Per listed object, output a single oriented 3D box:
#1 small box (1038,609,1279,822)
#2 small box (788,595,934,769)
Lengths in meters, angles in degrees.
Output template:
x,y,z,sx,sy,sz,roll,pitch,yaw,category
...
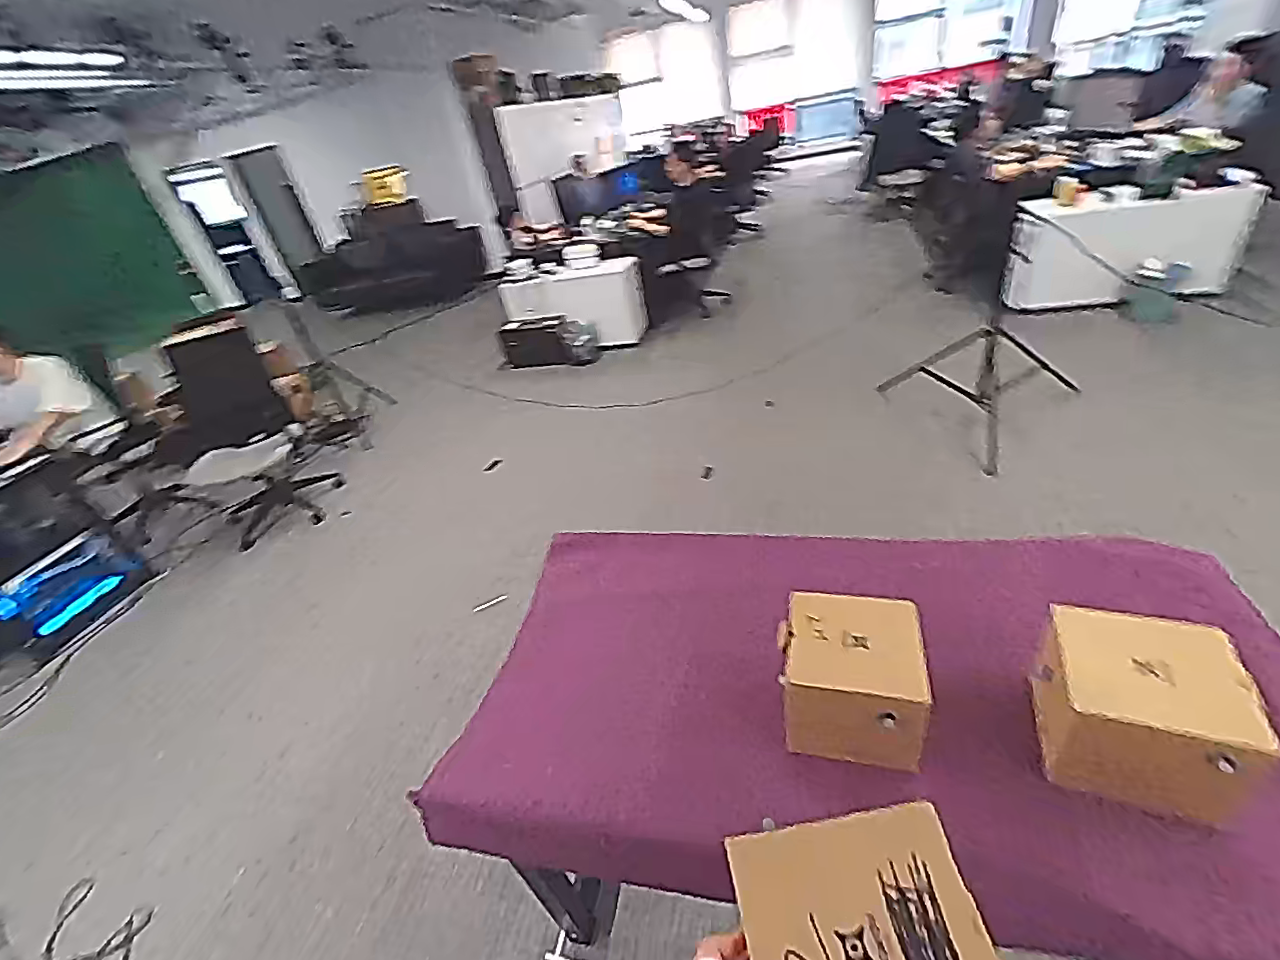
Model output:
x,y,z,sx,sy,sz,roll,pitch,yaw,category
0.627,0.293,0.684,0.179,0.176,0.168,5,37,26,small box
0.314,0.293,0.792,0.179,0.176,0.168,0,35,20,small box
